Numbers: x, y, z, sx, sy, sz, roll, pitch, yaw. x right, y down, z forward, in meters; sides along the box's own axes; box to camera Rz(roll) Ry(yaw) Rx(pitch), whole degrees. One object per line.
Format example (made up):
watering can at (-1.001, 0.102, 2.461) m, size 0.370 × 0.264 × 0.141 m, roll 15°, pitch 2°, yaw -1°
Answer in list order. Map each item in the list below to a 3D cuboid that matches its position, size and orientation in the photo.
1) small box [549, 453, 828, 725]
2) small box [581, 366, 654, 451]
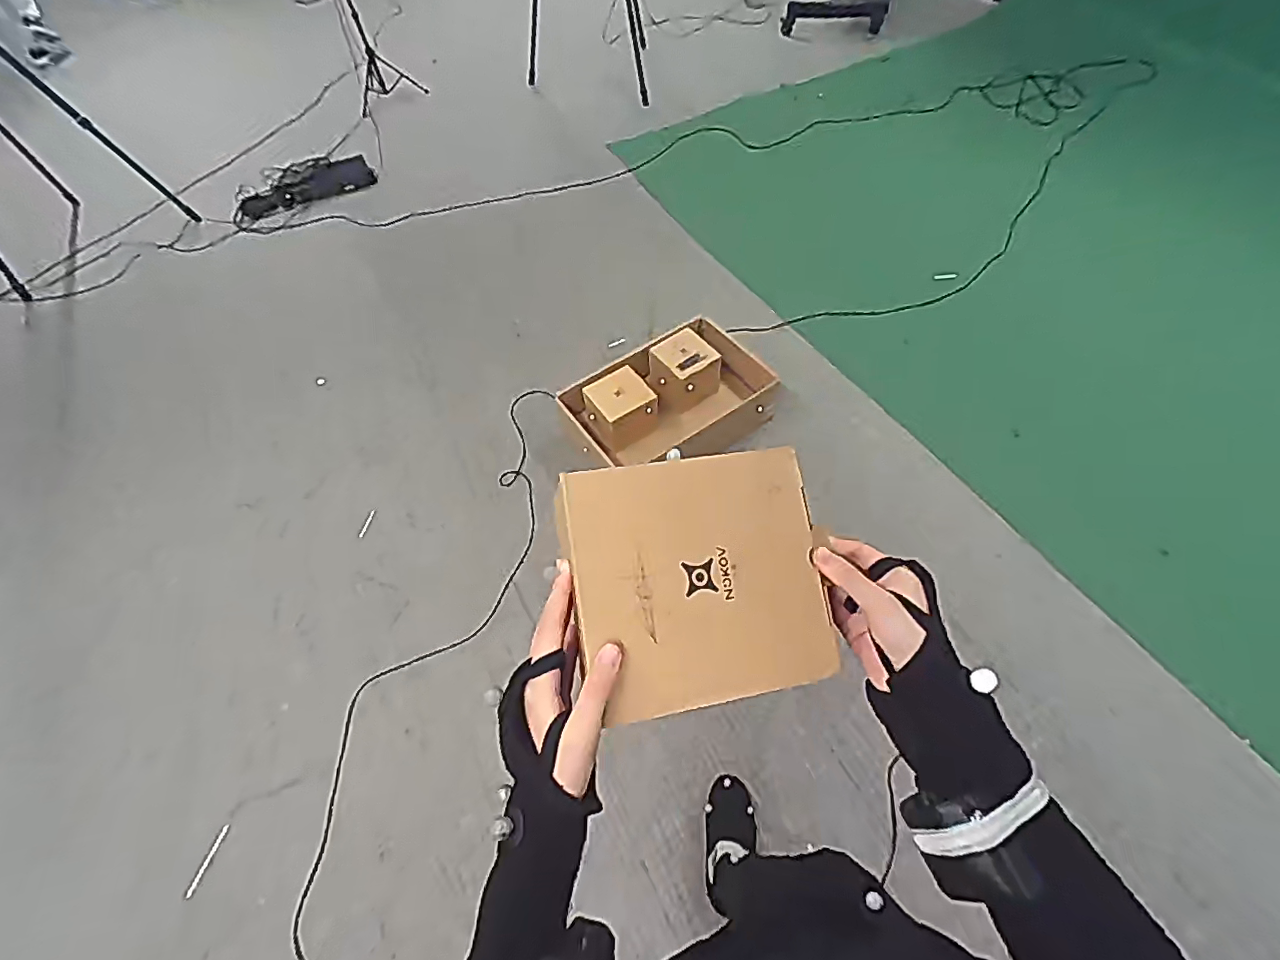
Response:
small box at (0.023, 0.080, 0.447) m, size 0.179 × 0.176 × 0.168 m, roll -7°, pitch 81°, yaw -12°
small box at (-0.065, -0.224, 1.733) m, size 0.179 × 0.176 × 0.168 m, roll -31°, pitch 62°, yaw -16°
